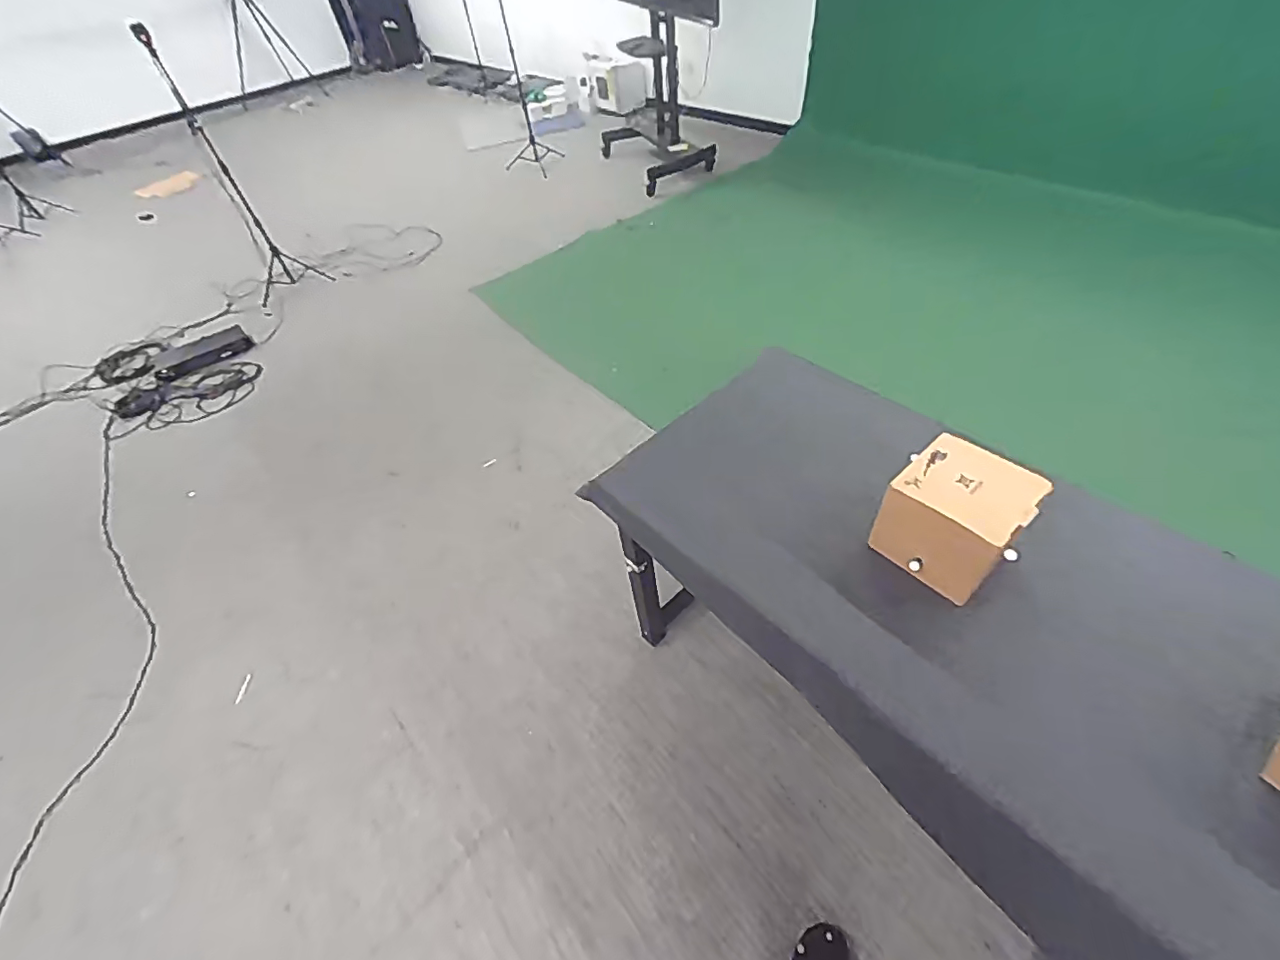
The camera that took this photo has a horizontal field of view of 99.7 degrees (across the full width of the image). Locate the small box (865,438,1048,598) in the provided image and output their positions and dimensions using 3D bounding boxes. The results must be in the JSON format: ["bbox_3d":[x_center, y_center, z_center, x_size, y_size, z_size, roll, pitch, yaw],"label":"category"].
[{"bbox_3d":[0.509,0.069,0.893,0.168,0.176,0.179,-35,54,-25],"label":"small box"}]
